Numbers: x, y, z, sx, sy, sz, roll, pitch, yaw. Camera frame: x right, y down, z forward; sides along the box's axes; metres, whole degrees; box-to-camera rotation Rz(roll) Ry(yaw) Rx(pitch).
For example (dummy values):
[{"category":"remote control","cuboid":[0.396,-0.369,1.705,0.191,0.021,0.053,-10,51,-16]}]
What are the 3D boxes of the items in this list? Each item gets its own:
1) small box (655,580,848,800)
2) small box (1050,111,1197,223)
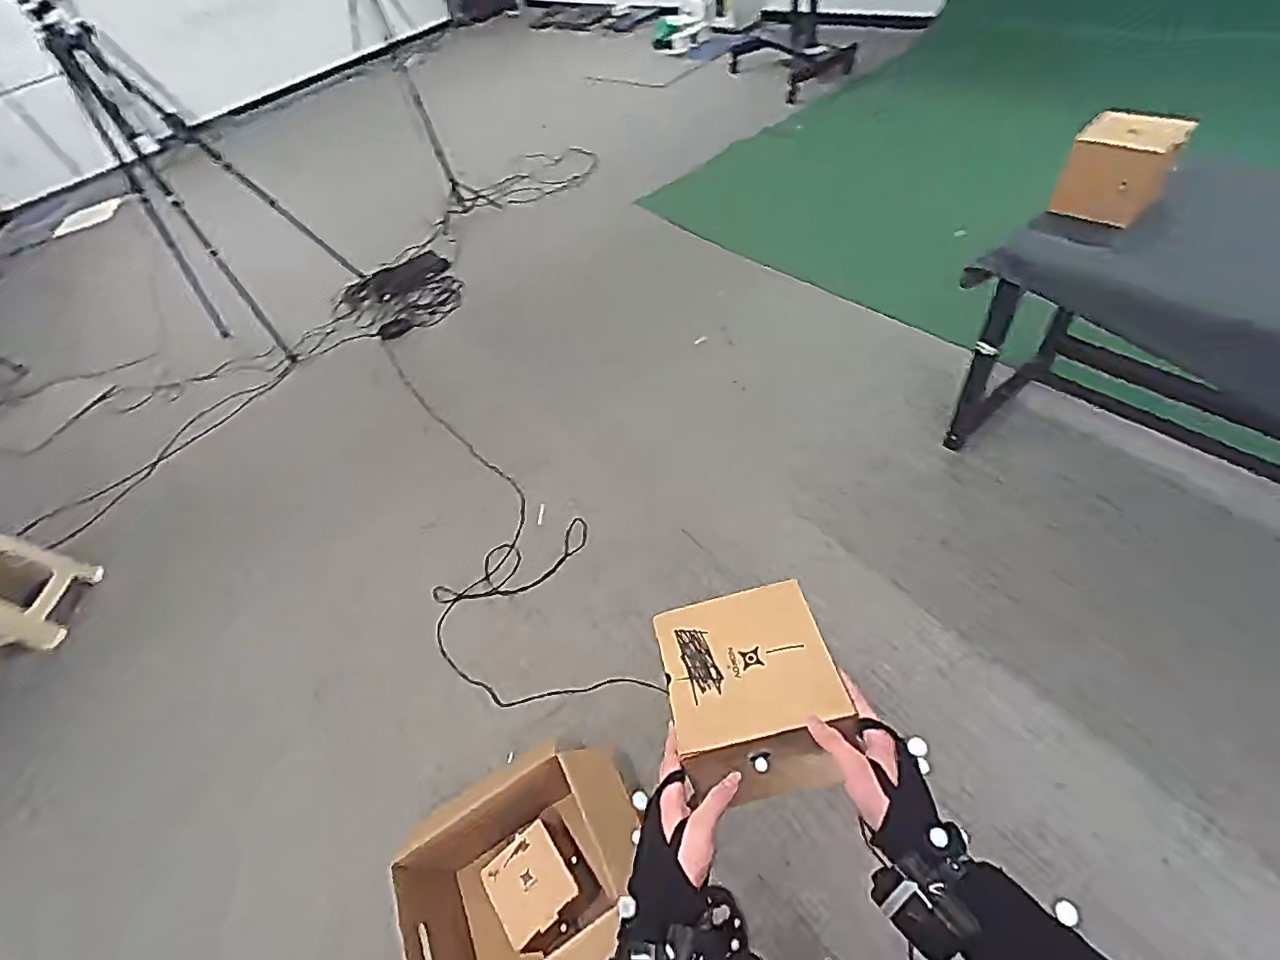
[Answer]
[{"category":"small box","cuboid":[0.125,0.244,0.619,0.179,0.176,0.168,-13,42,6]},{"category":"small box","cuboid":[1.119,-0.729,1.267,0.168,0.176,0.179,-39,53,-18]}]
